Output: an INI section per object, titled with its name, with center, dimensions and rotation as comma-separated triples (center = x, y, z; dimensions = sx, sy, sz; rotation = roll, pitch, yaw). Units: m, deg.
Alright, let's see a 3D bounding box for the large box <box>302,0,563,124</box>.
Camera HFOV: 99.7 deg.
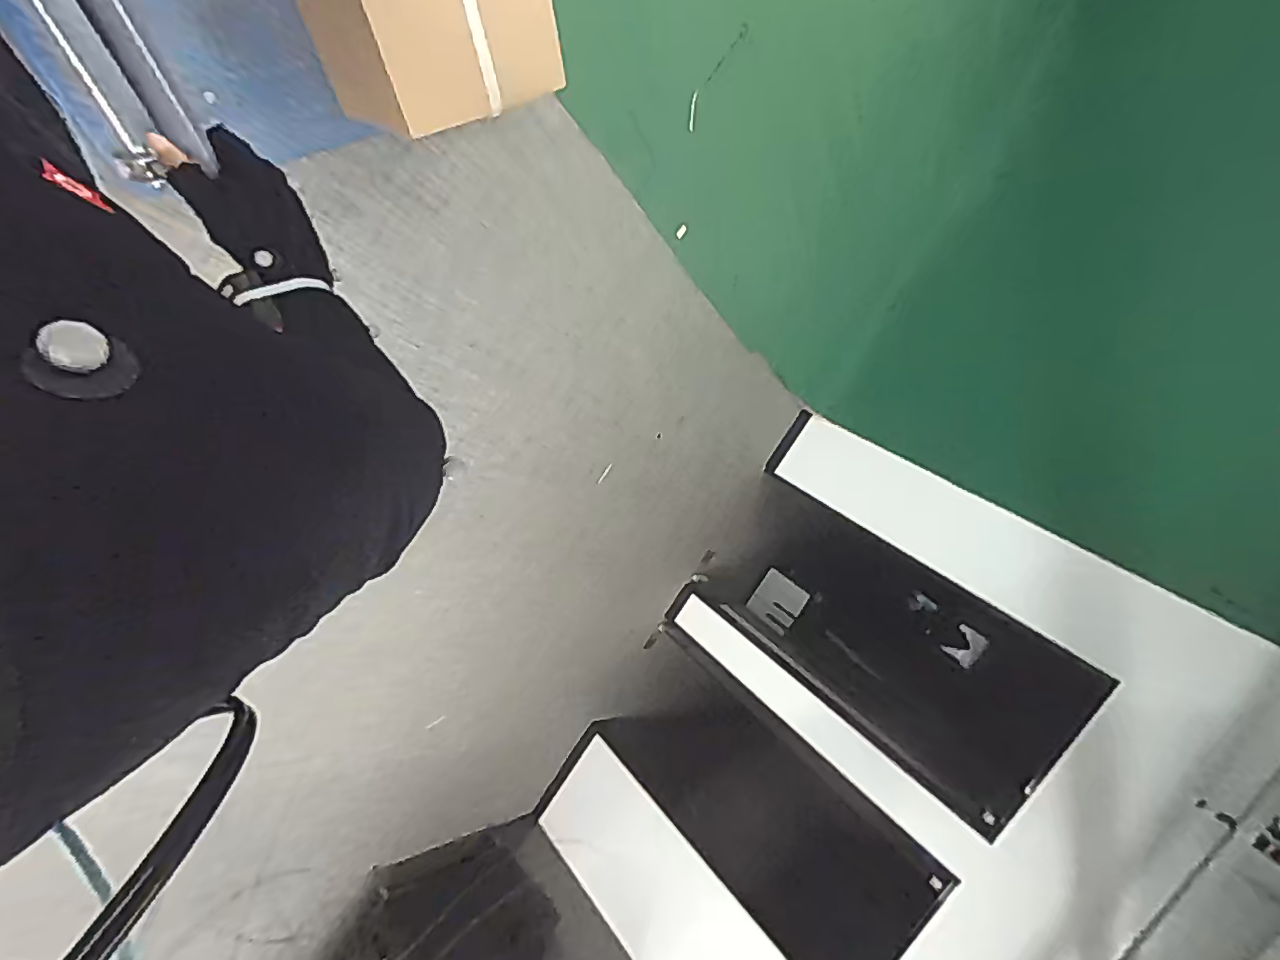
[large box]
center = -0.374, -0.852, 0.853
dimensions = 0.320, 0.320, 0.408
rotation = -37, 143, -22
